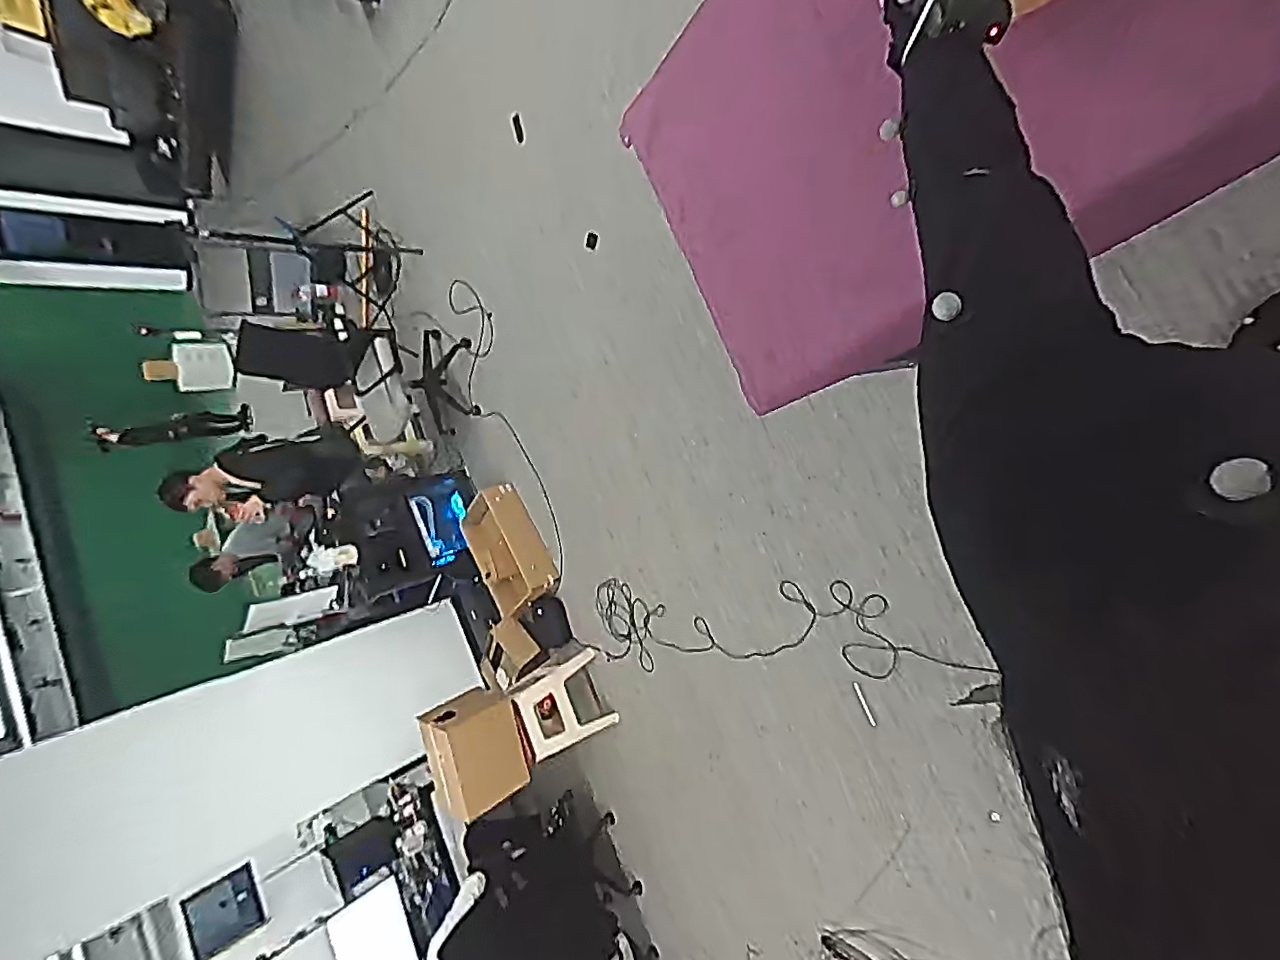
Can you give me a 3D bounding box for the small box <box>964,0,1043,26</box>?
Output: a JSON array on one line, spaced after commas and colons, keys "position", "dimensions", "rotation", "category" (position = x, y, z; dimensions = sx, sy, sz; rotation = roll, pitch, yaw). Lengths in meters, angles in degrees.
[{"position": [0.395, -0.592, 0.510], "dimensions": [0.179, 0.176, 0.168], "rotation": [-4, 97, 48], "category": "small box"}]
